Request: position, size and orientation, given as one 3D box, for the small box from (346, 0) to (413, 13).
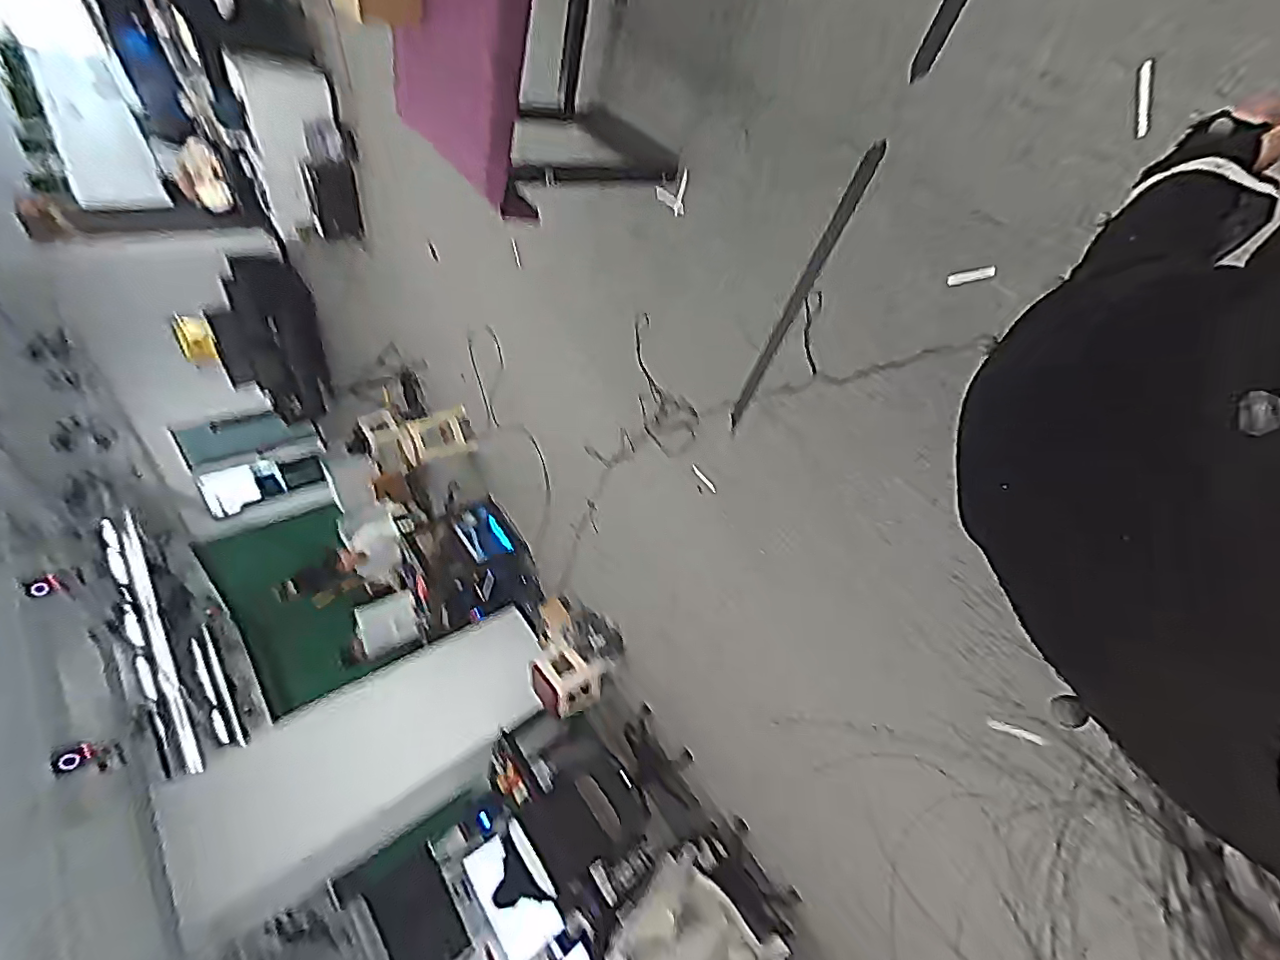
[{"bbox_3d":[-0.689,-1.327,1.378,0.179,0.176,0.168,48,141,21],"label":"small box"}]
